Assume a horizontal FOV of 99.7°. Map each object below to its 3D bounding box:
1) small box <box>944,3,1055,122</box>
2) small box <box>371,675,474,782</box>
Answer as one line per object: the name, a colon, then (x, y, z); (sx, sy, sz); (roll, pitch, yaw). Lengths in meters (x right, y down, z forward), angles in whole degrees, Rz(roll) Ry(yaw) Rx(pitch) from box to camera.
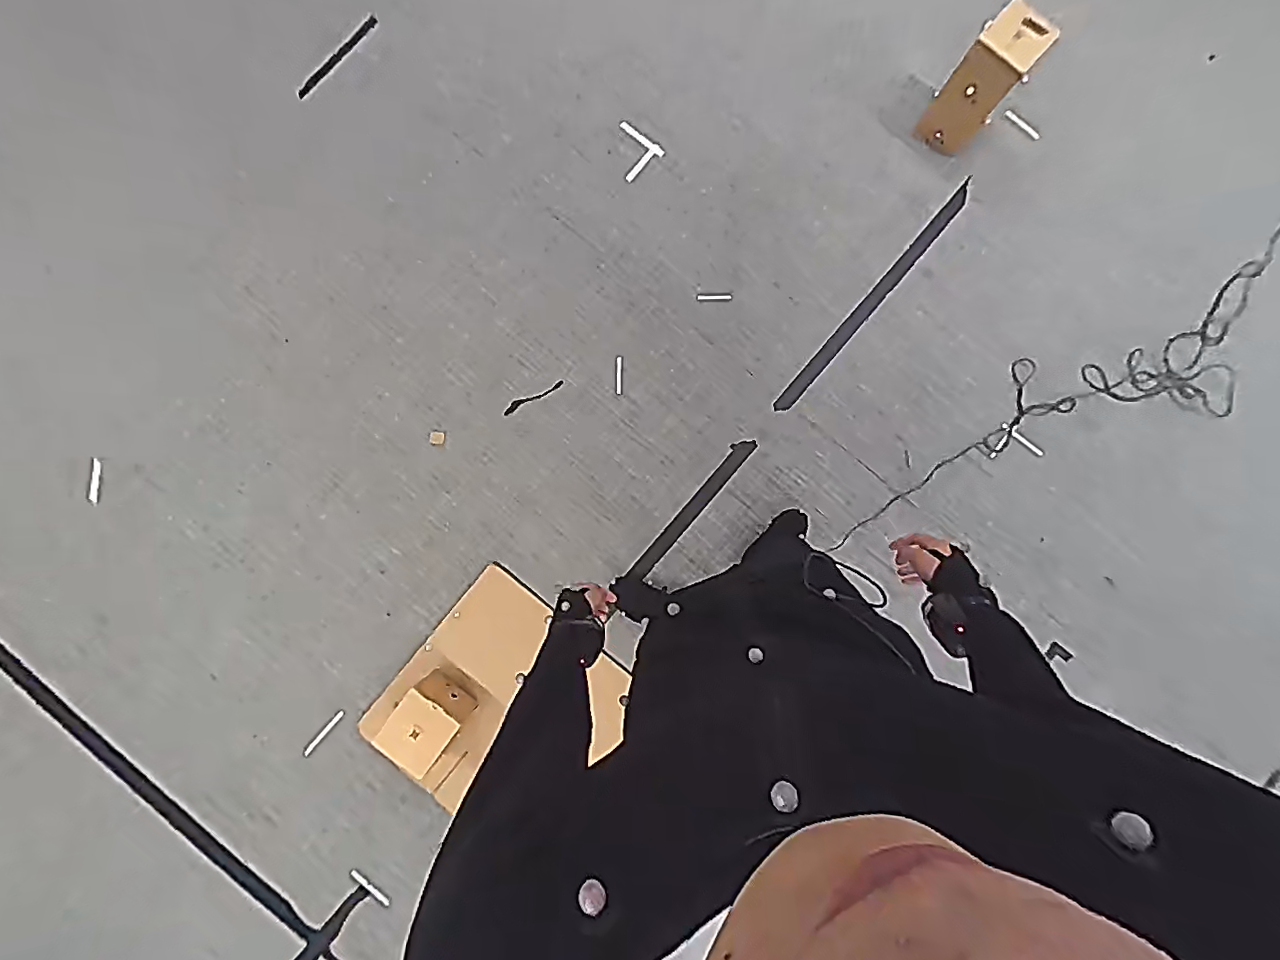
small box: (1.033, -1.203, 1.571); (0.168, 0.176, 0.179); (42, 85, 3)
small box: (-0.578, 0.665, 1.469); (0.168, 0.176, 0.179); (35, 84, 2)
